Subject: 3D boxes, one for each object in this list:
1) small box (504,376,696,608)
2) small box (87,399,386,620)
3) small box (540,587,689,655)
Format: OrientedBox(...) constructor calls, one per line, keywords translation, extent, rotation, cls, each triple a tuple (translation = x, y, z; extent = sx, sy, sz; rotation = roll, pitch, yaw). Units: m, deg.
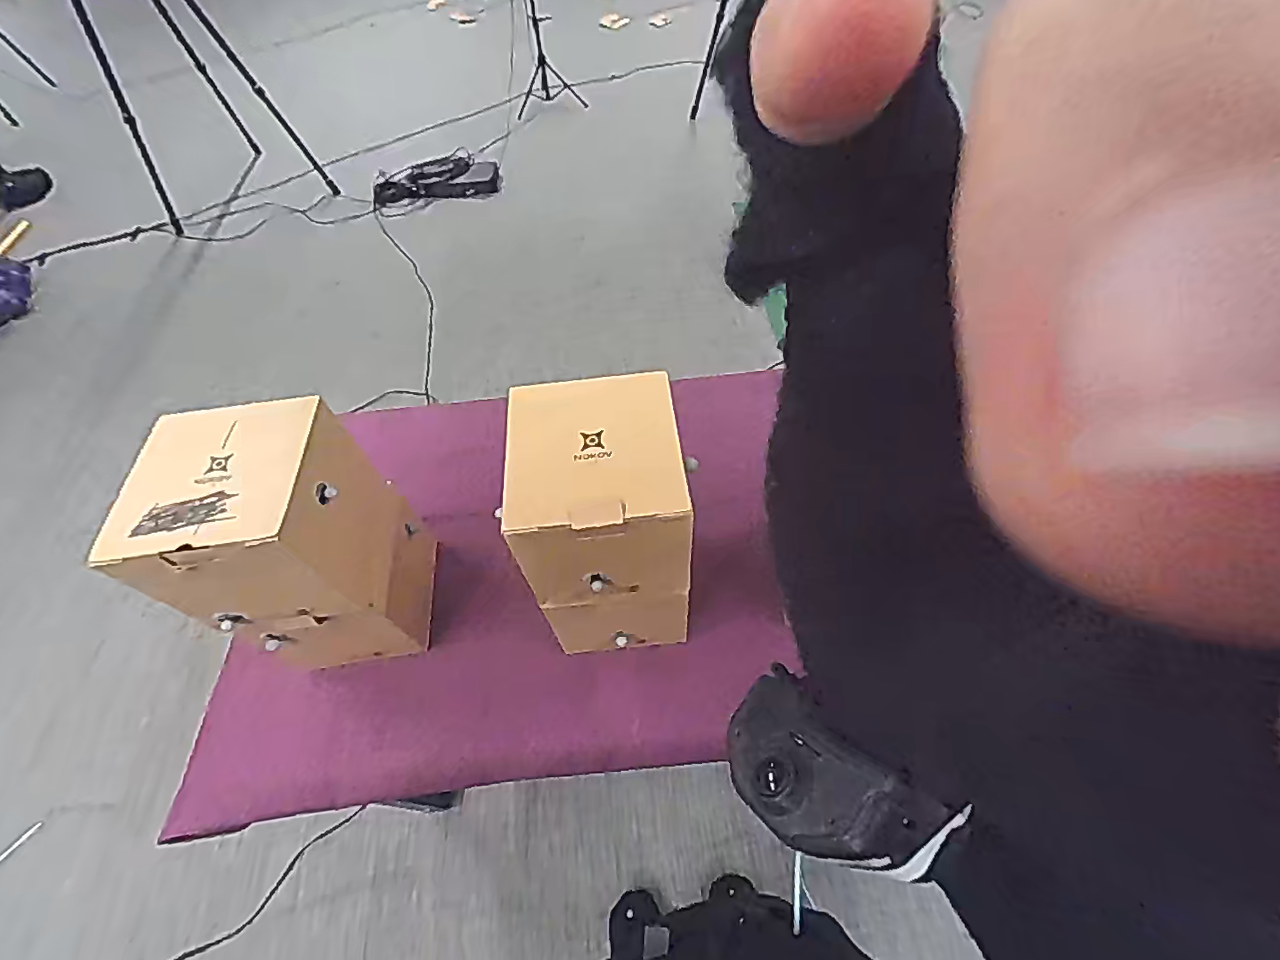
OrientedBox(translation=(-0.038, 0.016, 0.569), extent=(0.168, 0.176, 0.179), rotation=(-6, 56, -1), cls="small box")
OrientedBox(translation=(-0.392, 0.039, 0.571), extent=(0.168, 0.176, 0.179), rotation=(-4, 55, -2), cls="small box")
OrientedBox(translation=(-0.029, 0.110, 0.702), extent=(0.168, 0.176, 0.179), rotation=(-5, 55, 1), cls="small box")
